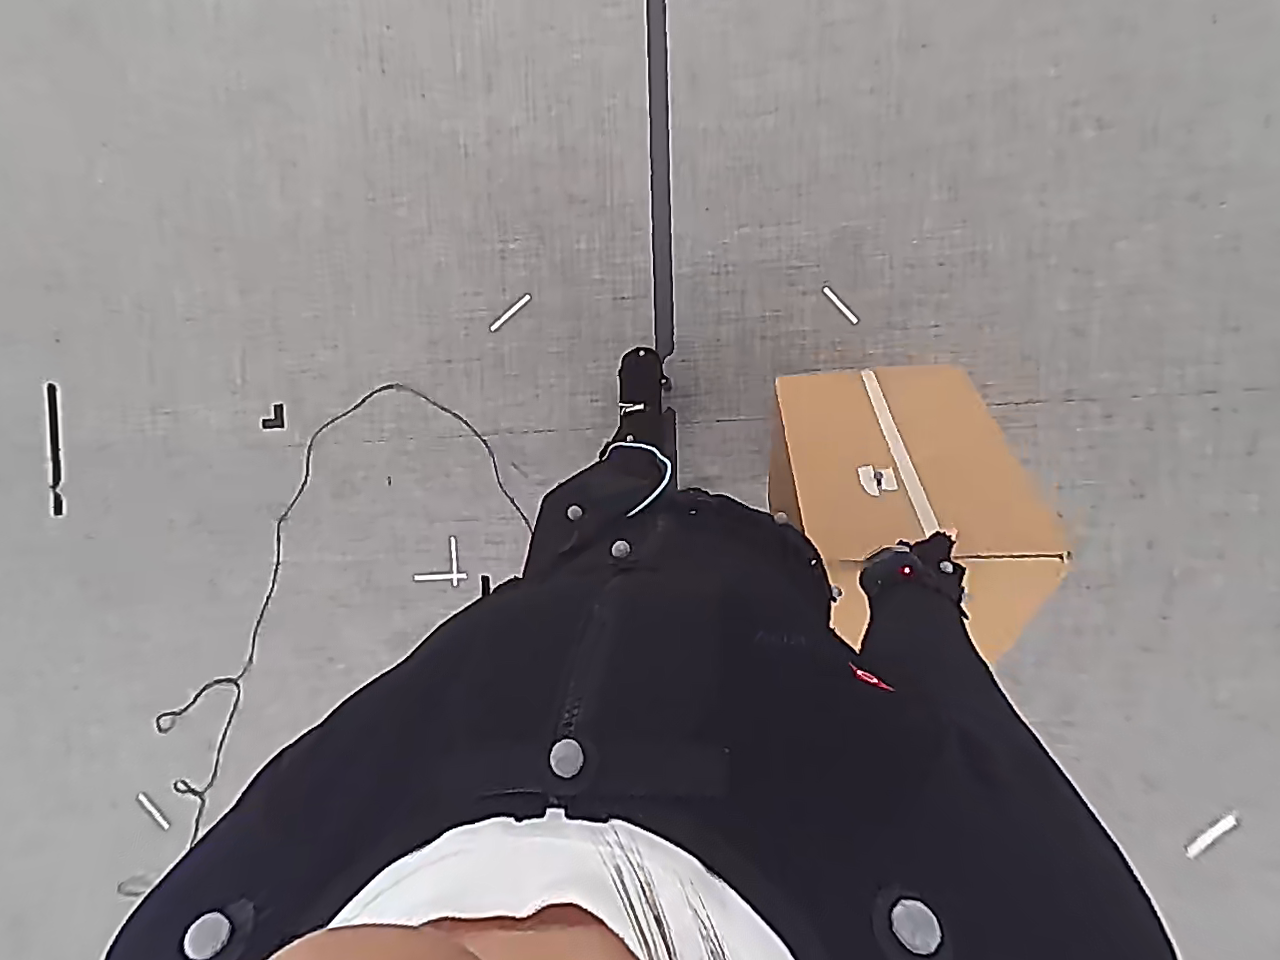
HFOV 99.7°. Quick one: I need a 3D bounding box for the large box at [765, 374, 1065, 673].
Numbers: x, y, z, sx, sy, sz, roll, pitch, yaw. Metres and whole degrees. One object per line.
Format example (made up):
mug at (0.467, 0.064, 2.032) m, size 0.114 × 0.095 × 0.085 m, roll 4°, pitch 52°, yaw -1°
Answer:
large box at (0.392, 0.069, 0.913) m, size 0.320 × 0.408 × 0.320 m, roll -3°, pitch 135°, yaw 9°
